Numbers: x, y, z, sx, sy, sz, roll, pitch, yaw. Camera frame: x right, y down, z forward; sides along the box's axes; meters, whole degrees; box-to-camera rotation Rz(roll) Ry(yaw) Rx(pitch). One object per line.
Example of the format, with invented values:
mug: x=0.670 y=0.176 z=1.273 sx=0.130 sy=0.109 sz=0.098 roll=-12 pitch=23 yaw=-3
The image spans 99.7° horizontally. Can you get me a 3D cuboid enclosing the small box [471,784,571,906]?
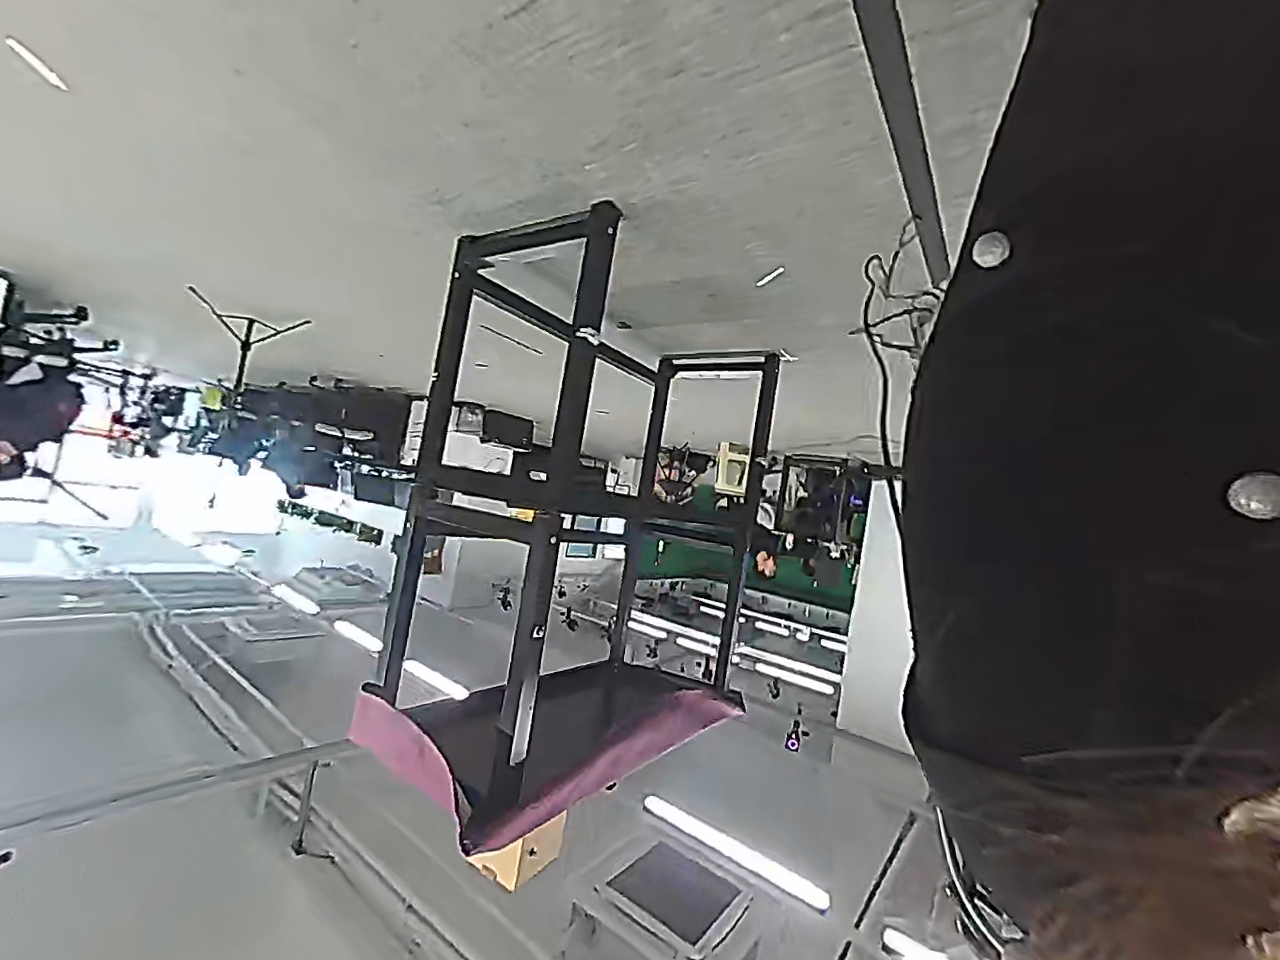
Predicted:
small box: x=-0.296 y=0.905 z=1.363 sx=0.168 sy=0.176 sz=0.179 roll=7 pitch=179 yaw=29
